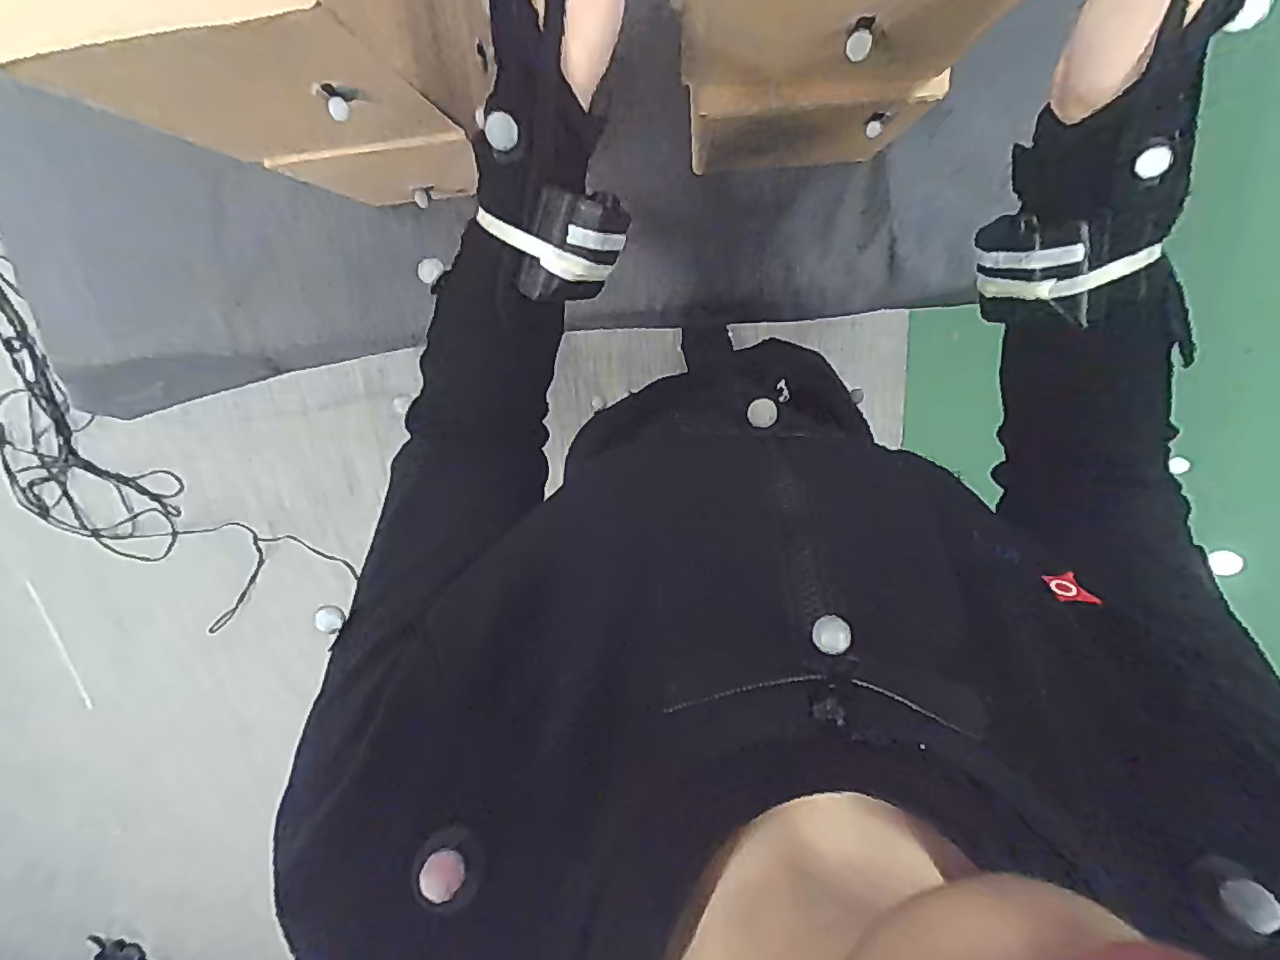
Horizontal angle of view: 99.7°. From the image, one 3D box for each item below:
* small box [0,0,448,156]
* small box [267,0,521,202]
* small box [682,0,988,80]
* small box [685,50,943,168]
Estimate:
[{"bbox_3d":[-0.229,-0.308,0.308,0.179,0.176,0.168,-5,106,6],"label":"small box"},{"bbox_3d":[-0.212,-0.357,0.462,0.168,0.176,0.179,-4,107,5],"label":"small box"},{"bbox_3d":[0.110,-0.335,0.275,0.179,0.176,0.168,1,107,3],"label":"small box"},{"bbox_3d":[0.124,-0.369,0.439,0.179,0.176,0.168,-3,106,4],"label":"small box"}]
